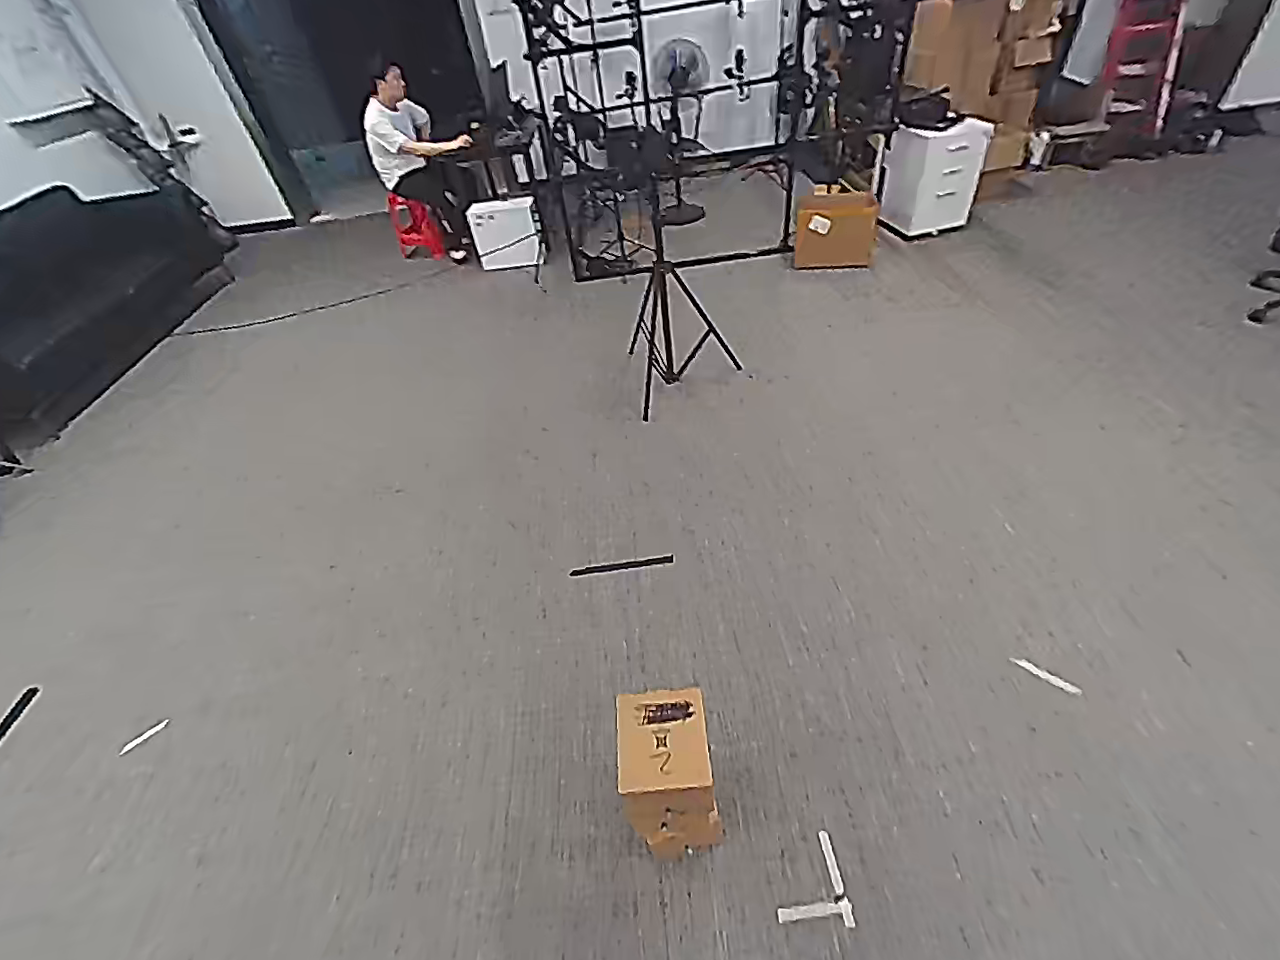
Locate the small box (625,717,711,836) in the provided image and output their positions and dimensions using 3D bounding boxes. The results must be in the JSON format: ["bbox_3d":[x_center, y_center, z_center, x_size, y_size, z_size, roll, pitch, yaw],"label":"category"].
[{"bbox_3d":[0.058,0.634,1.155,0.168,0.176,0.179,-7,43,2],"label":"small box"}]

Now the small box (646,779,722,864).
[{"bbox_3d":[0.084,0.755,1.261,0.168,0.176,0.179,-16,44,-6],"label":"small box"}]
